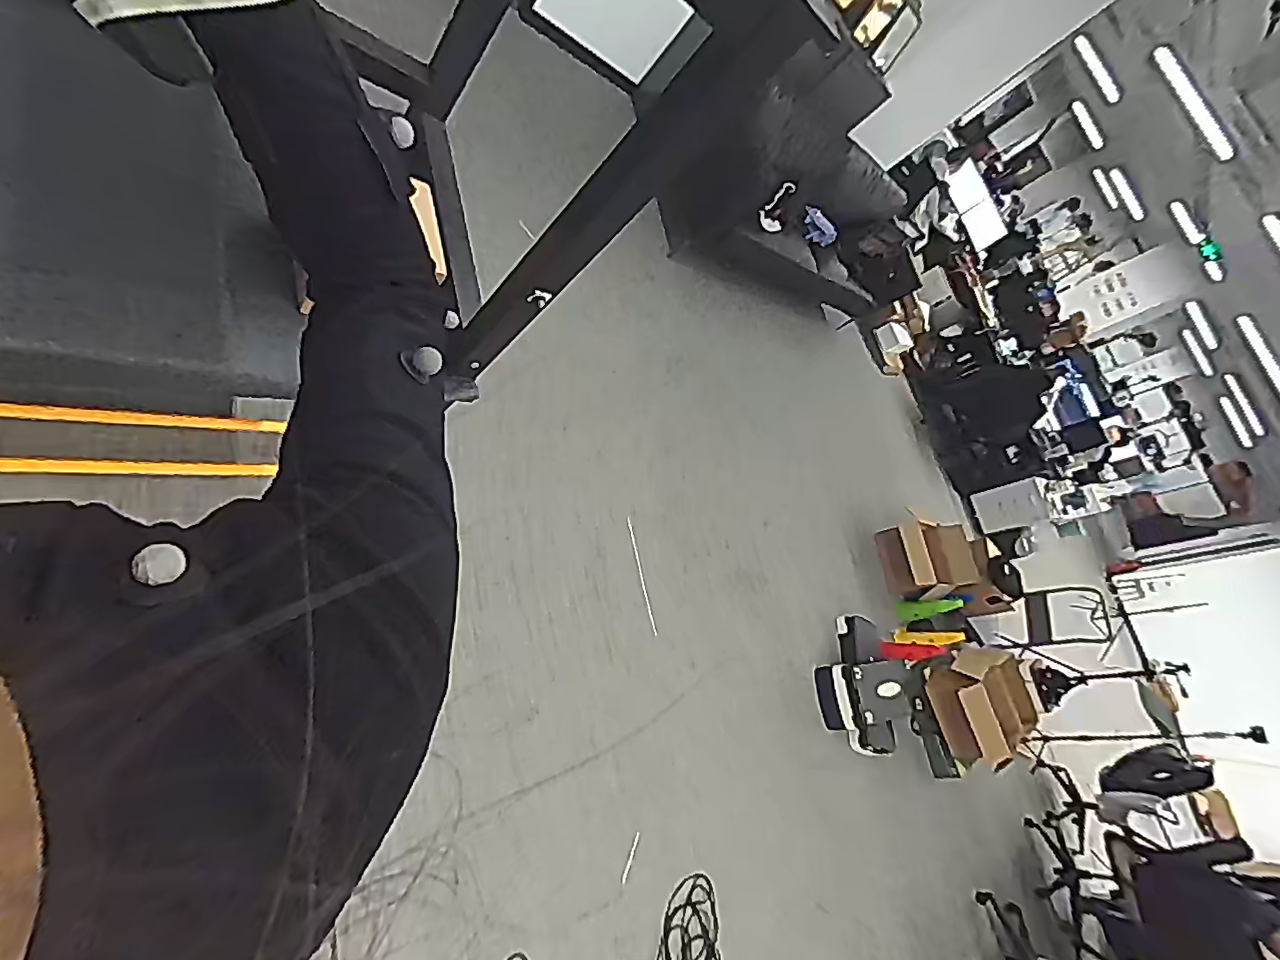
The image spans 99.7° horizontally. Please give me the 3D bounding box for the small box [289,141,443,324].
[{"bbox_3d":[-0.434,-0.371,0.849,0.168,0.176,0.179,-1,70,-46],"label":"small box"}]
